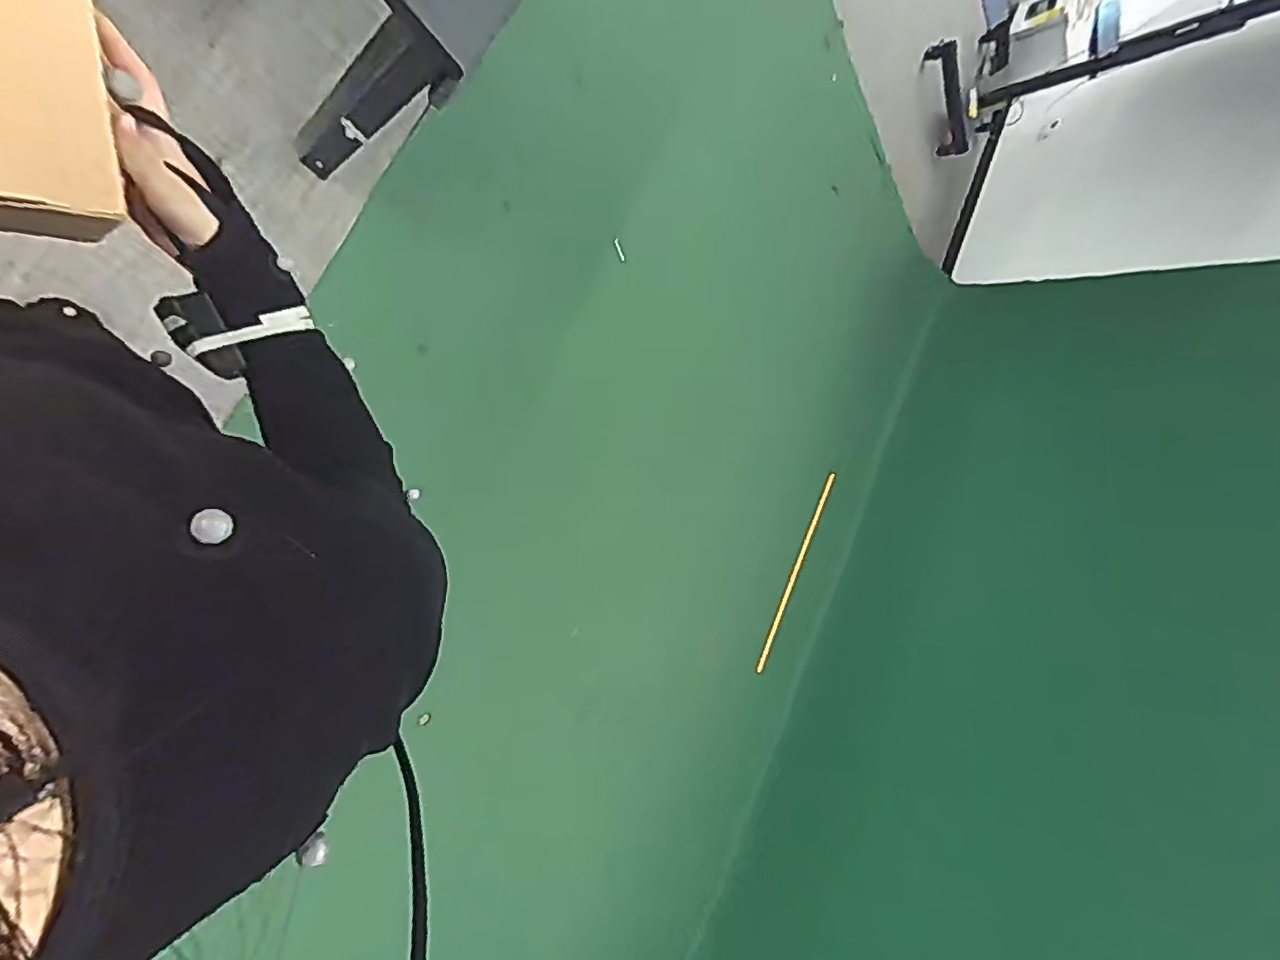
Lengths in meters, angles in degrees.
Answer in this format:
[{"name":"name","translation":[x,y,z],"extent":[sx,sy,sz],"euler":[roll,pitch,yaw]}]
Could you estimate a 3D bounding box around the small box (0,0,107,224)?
[{"name":"small box","translation":[-0.402,-0.240,0.268],"extent":[0.168,0.176,0.179],"euler":[-13,114,-46]}]
